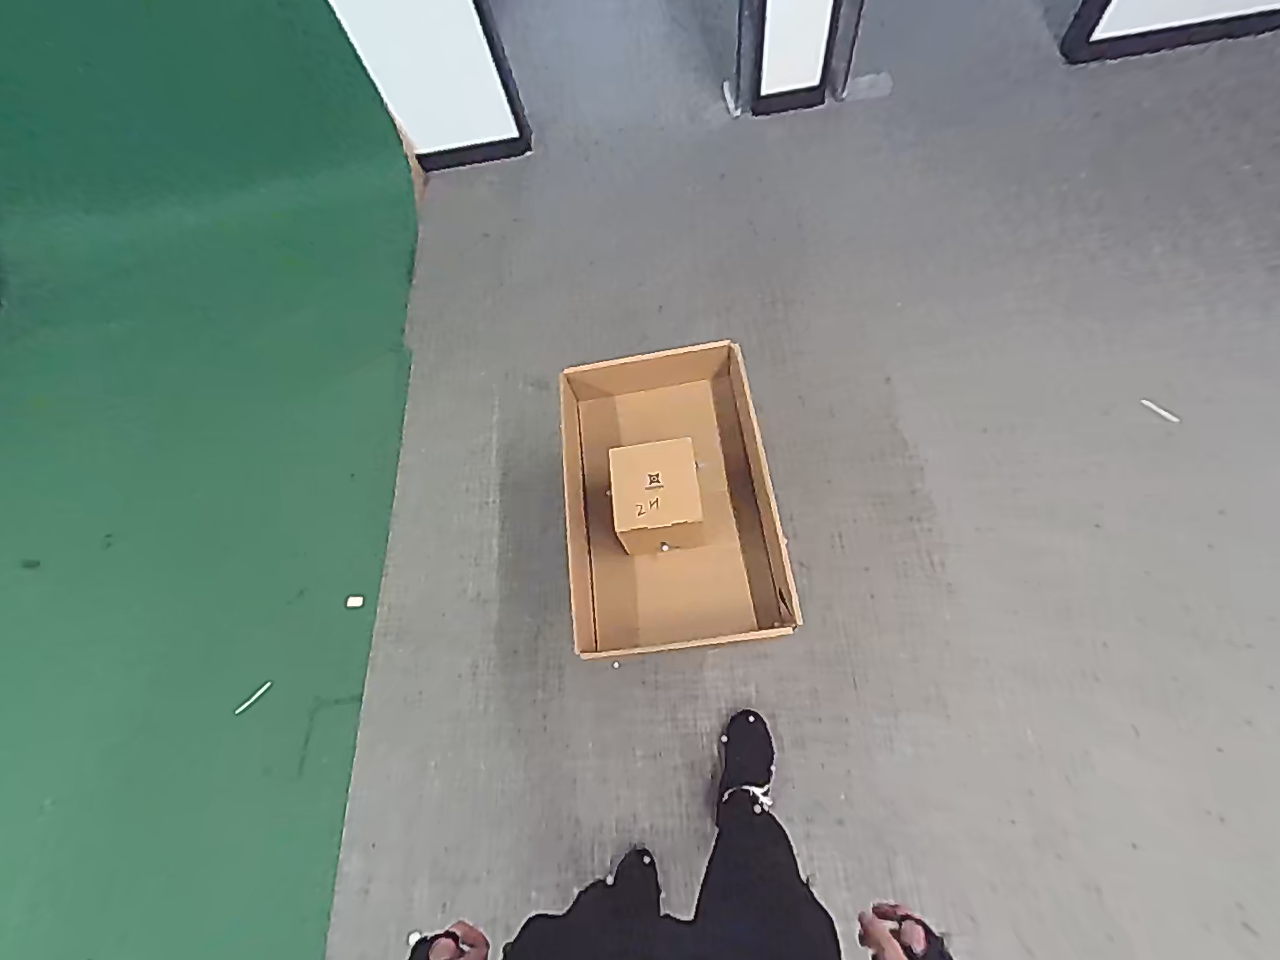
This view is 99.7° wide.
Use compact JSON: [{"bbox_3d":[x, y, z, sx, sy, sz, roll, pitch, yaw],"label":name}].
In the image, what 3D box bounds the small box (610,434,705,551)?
[{"bbox_3d":[0.038,0.030,1.087,0.168,0.176,0.179,-8,66,5],"label":"small box"}]
